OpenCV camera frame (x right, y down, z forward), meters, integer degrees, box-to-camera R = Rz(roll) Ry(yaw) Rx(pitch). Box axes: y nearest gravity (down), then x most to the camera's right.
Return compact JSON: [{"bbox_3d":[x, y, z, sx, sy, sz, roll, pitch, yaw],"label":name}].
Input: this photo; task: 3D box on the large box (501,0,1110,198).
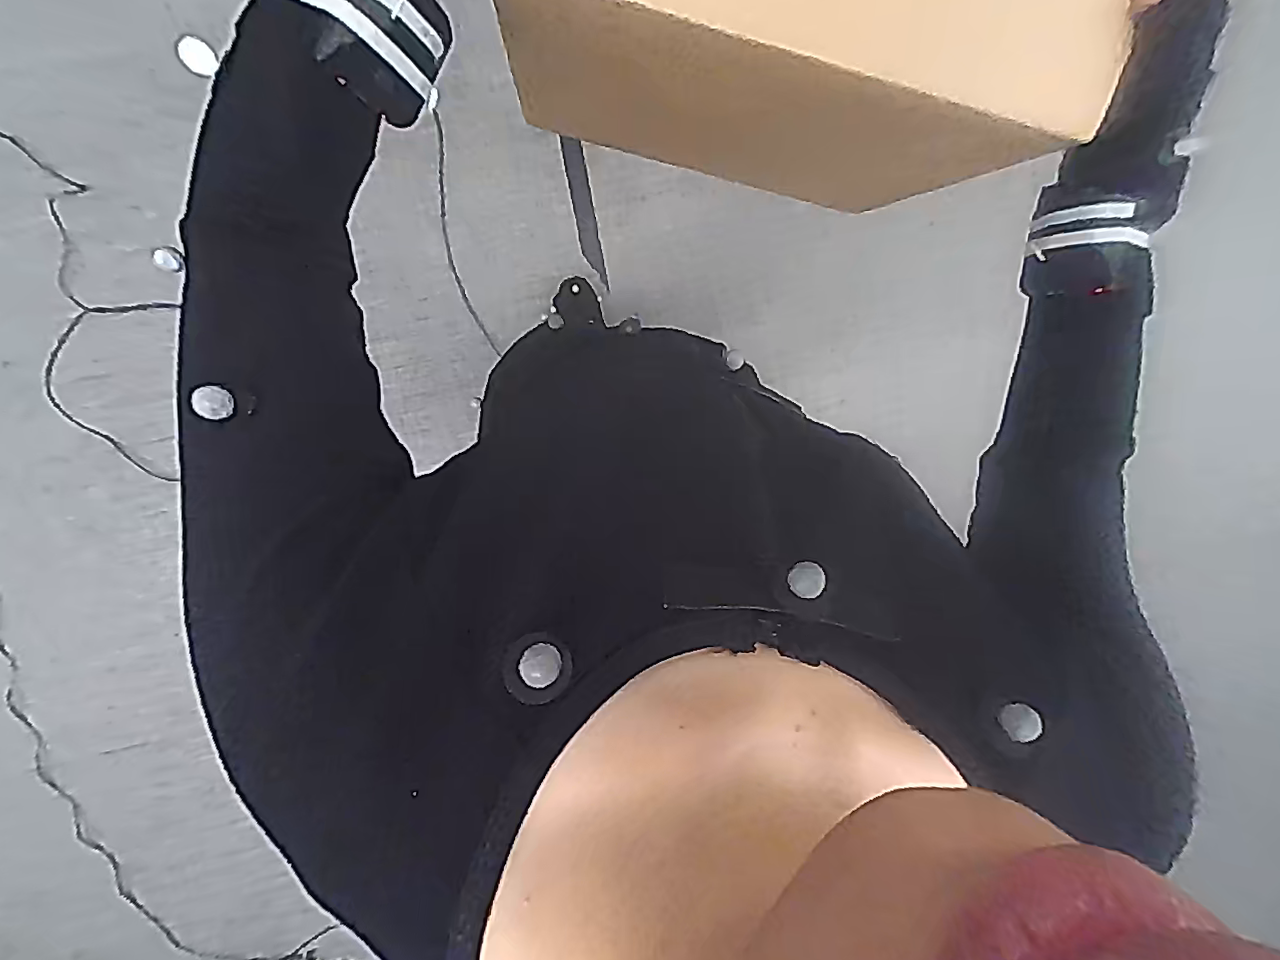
[{"bbox_3d":[0.110,-0.463,0.441,0.408,0.320,0.320,8,107,-10],"label":"large box"}]
